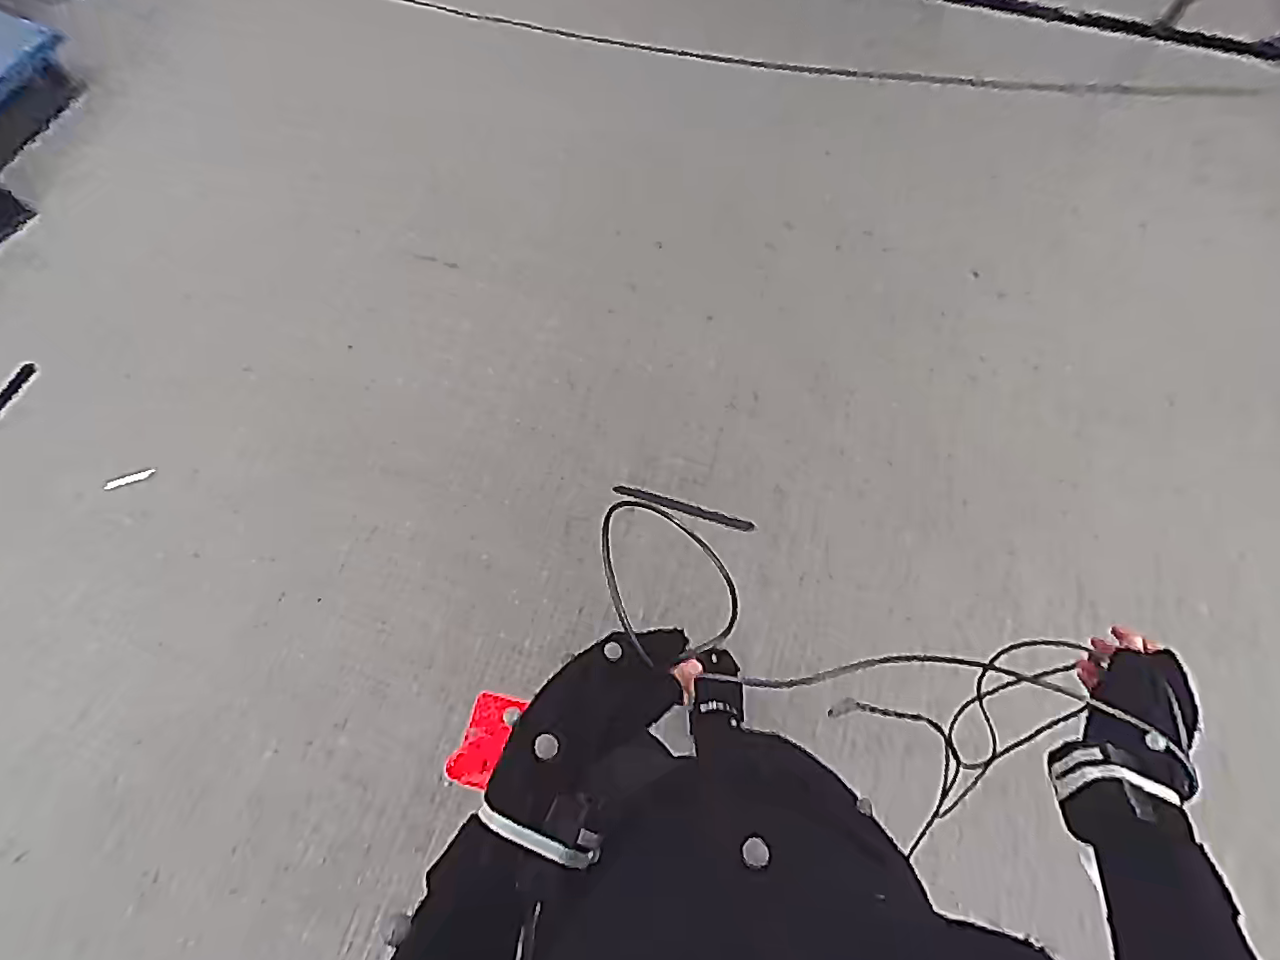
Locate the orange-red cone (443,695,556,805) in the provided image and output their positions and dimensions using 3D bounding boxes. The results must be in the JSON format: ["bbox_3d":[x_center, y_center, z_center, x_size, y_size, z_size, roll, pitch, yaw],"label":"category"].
[{"bbox_3d":[-0.316,0.555,1.084,0.199,0.360,0.198,13,69,7],"label":"orange-red cone"}]
